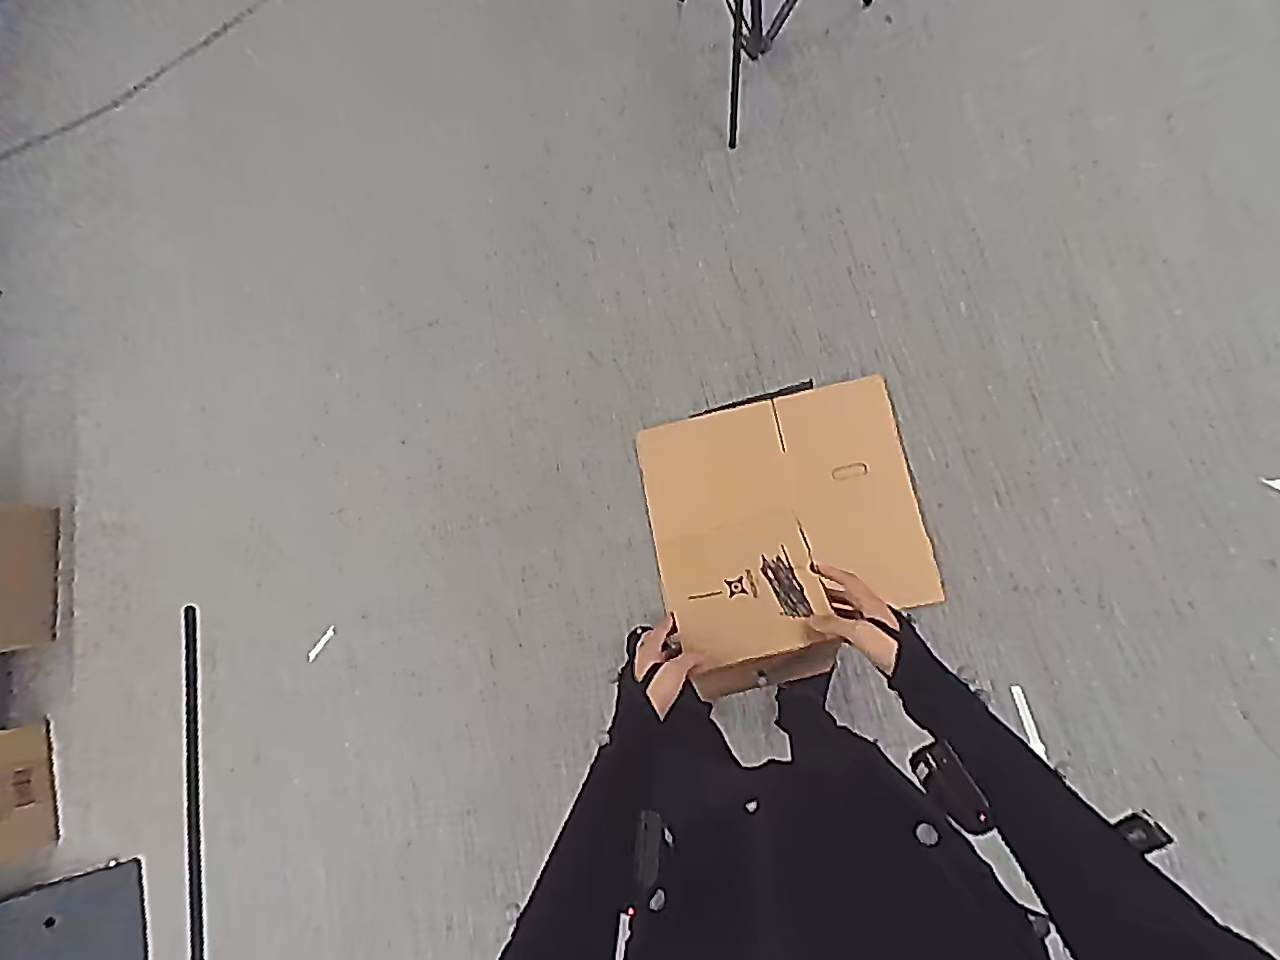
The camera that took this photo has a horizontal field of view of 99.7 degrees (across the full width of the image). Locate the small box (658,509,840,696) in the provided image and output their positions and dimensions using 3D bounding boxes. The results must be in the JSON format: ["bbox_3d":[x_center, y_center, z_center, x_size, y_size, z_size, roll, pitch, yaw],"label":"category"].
[{"bbox_3d":[0.134,0.164,0.696,0.179,0.176,0.168,-16,56,4],"label":"small box"}]
